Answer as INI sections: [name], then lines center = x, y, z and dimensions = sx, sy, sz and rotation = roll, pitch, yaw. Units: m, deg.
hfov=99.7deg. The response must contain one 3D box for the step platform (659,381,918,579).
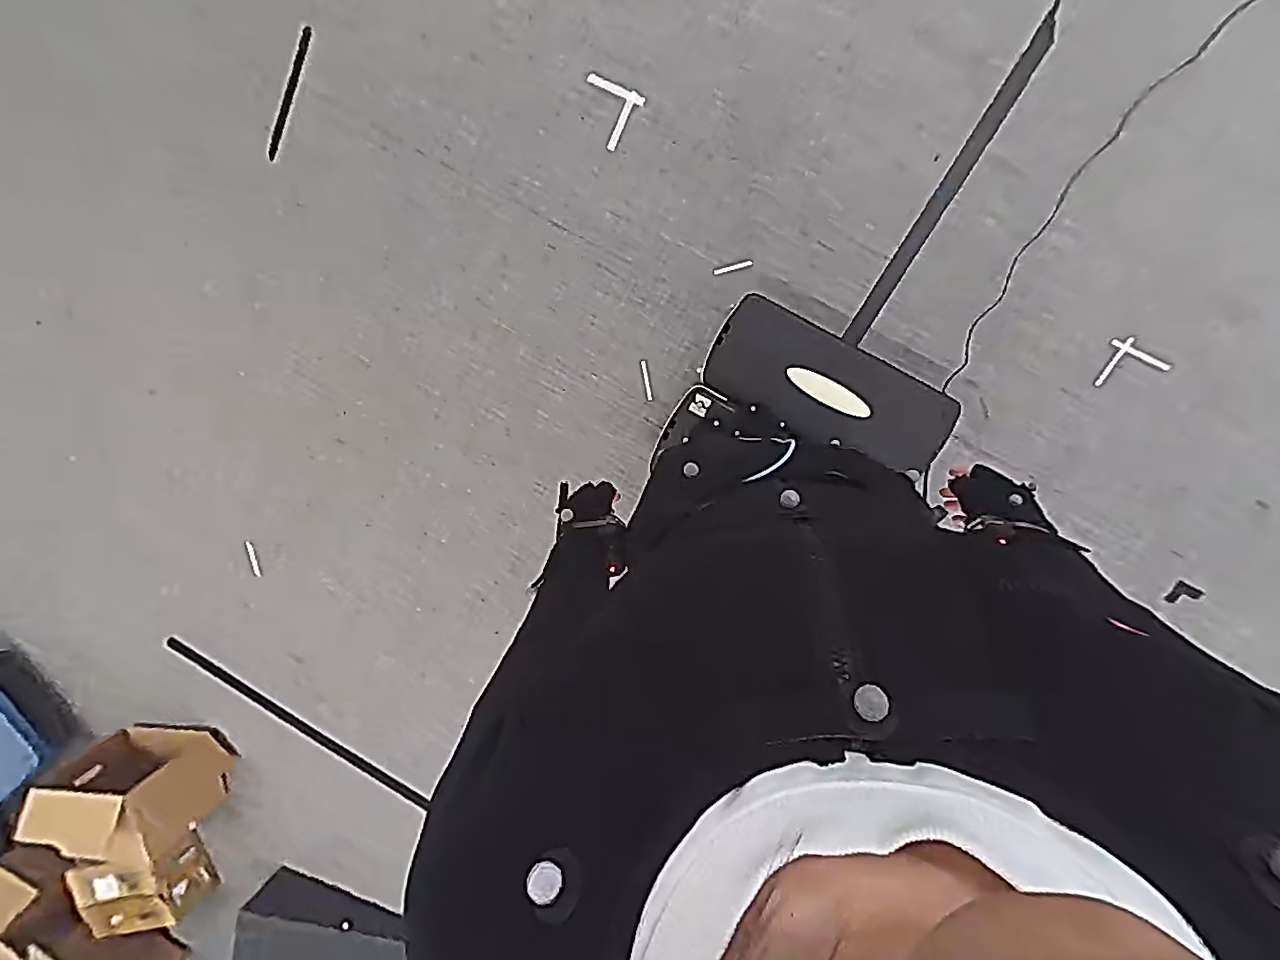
[step platform]
center = 0.397, -0.005, 1.511
dimensions = 0.684, 0.204, 0.286
rotation = 29, 102, 5
